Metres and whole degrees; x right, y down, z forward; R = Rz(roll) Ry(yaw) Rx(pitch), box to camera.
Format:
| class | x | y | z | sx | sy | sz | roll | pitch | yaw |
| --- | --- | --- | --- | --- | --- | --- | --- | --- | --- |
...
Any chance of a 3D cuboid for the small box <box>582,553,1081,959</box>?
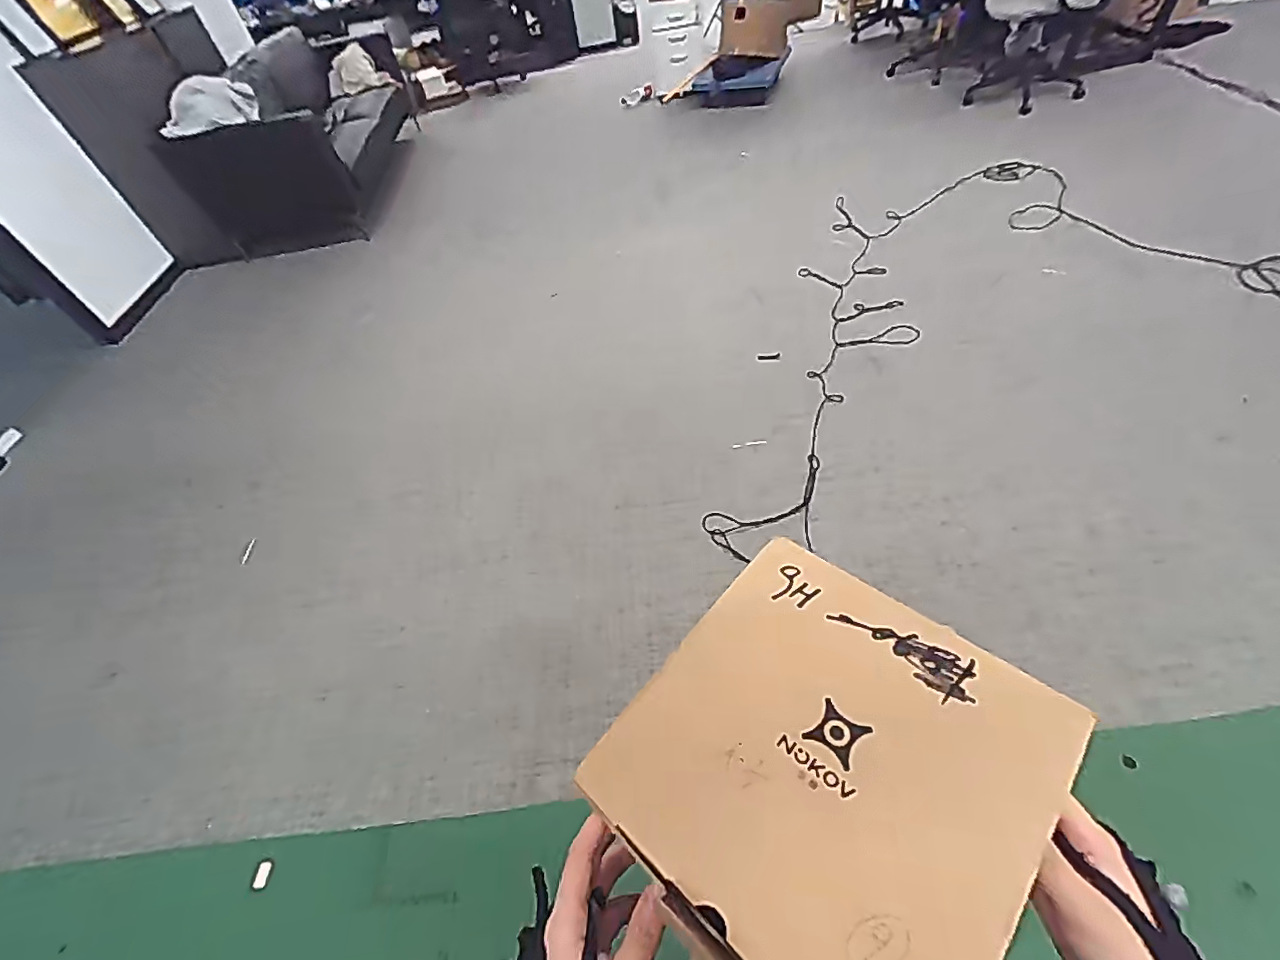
| class | x | y | z | sx | sy | sz | roll | pitch | yaw |
| --- | --- | --- | --- | --- | --- | --- | --- | --- | --- |
| small box | 0.099 | 0.184 | 0.312 | 0.168 | 0.176 | 0.179 | 31 | 61 | 32 |
